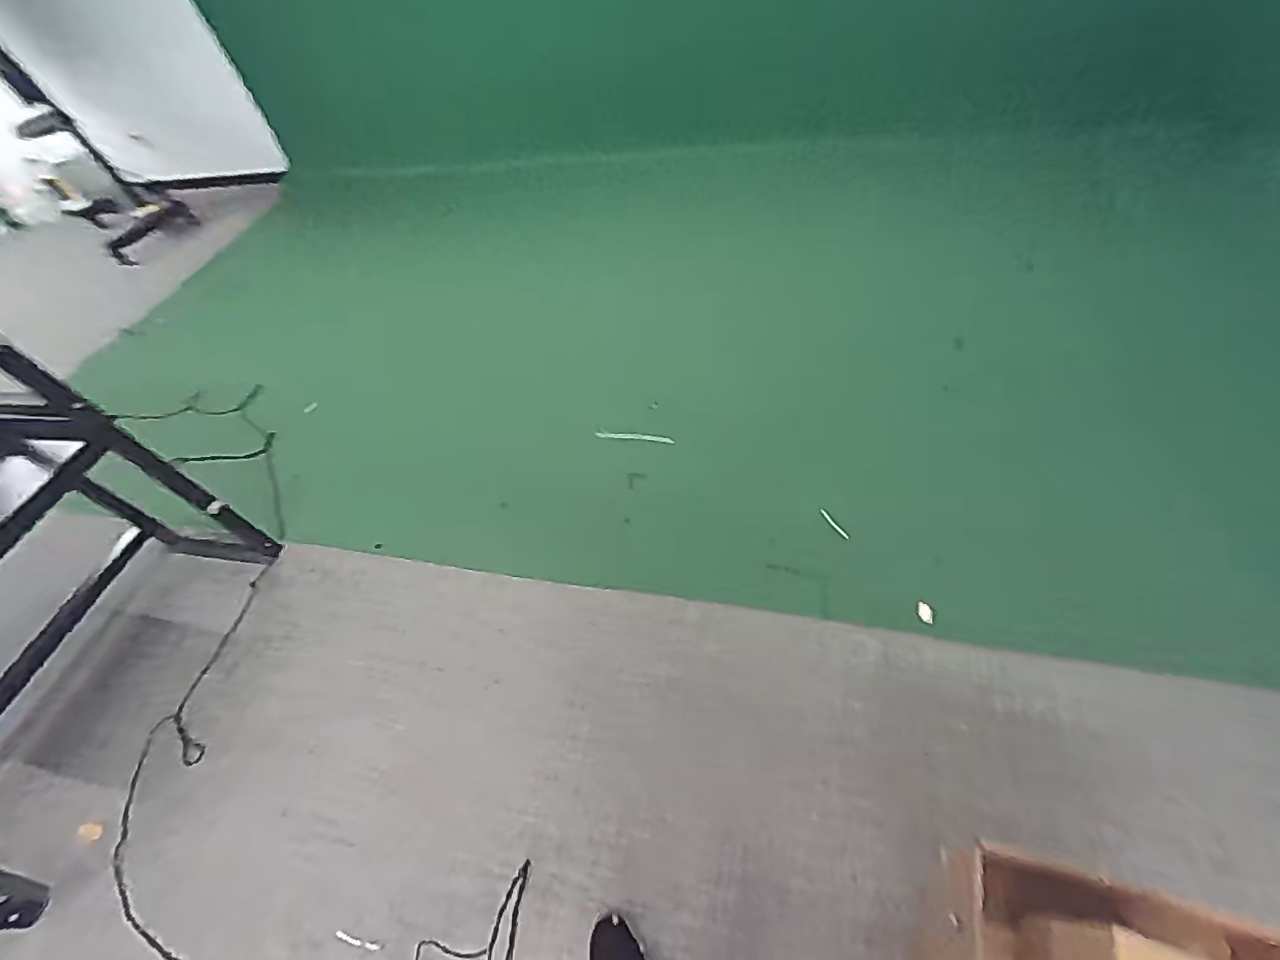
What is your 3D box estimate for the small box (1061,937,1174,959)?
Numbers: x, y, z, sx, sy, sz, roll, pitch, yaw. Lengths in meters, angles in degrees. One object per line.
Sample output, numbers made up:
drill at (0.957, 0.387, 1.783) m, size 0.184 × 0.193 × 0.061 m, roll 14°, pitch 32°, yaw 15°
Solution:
small box at (0.592, 0.637, 0.590) m, size 0.179 × 0.176 × 0.168 m, roll 13°, pitch 56°, yaw 19°
